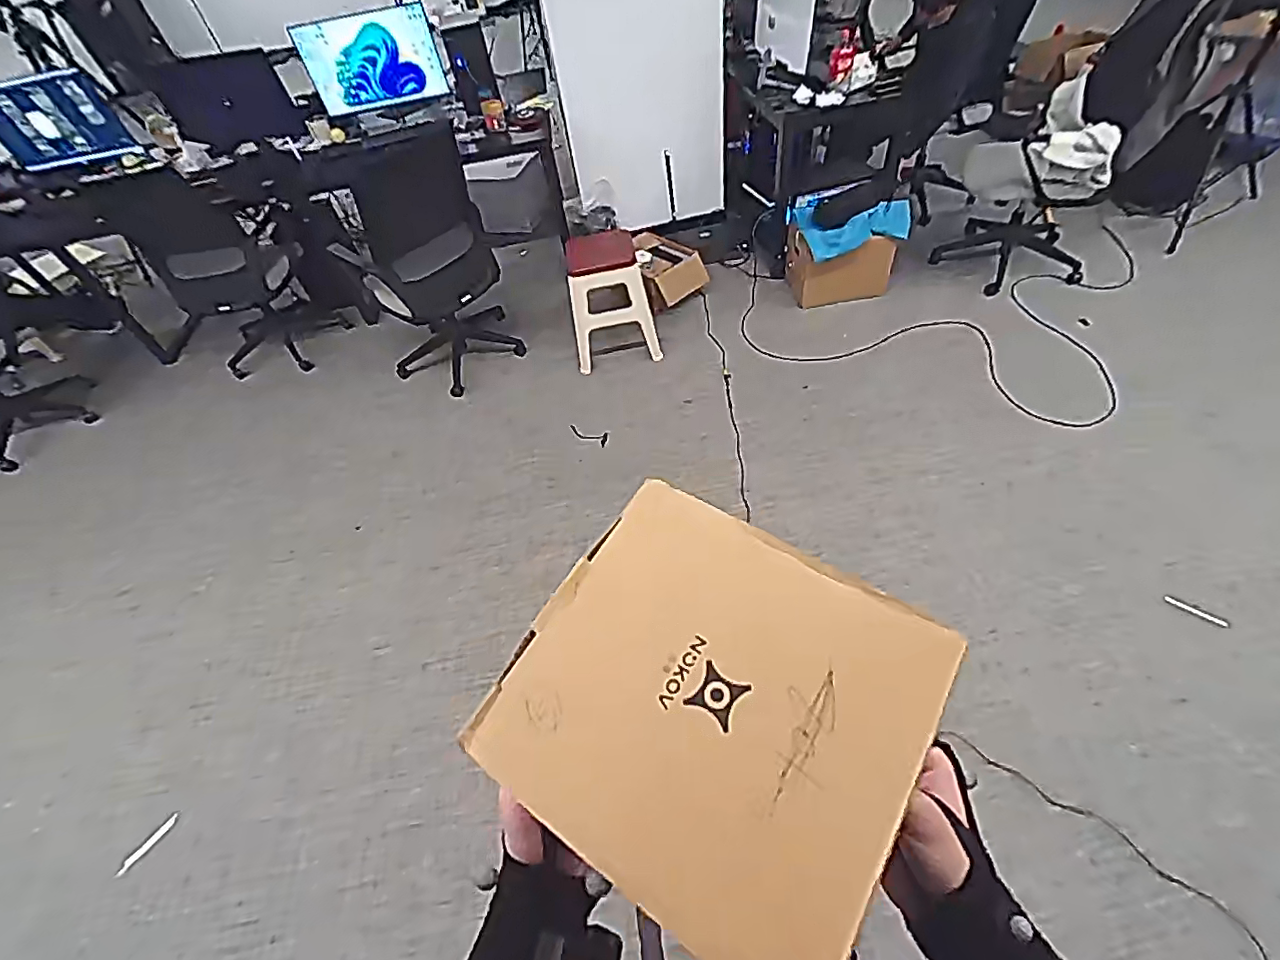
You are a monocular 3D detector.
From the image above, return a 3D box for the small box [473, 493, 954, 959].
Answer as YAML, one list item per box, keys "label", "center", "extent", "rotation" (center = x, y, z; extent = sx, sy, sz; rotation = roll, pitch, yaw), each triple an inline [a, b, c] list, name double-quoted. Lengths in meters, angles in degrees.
- label: "small box"
  center: [0.043, 0.143, 0.322]
  extent: [0.179, 0.176, 0.168]
  rotation: [26, 66, 22]
